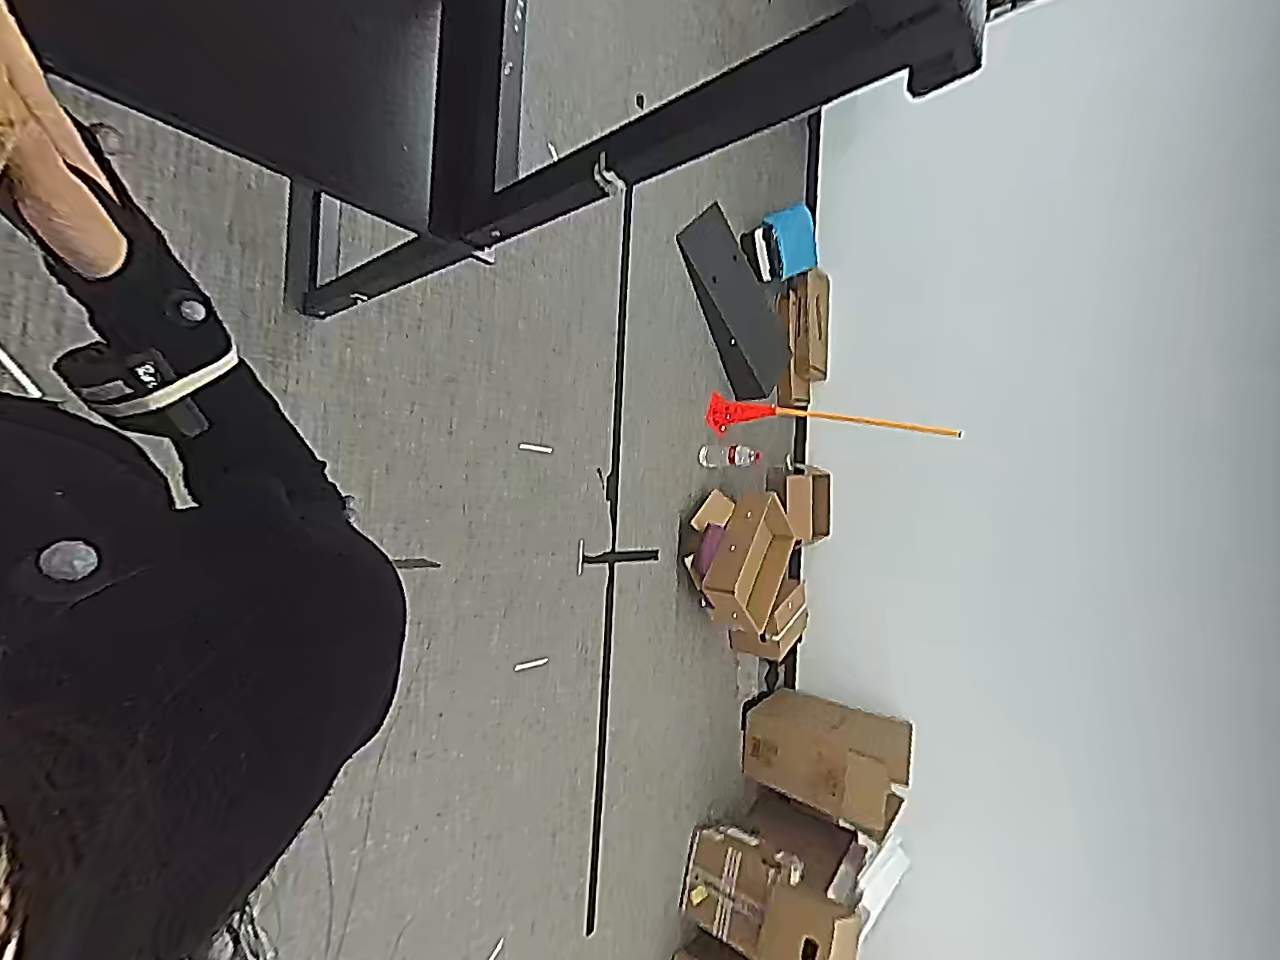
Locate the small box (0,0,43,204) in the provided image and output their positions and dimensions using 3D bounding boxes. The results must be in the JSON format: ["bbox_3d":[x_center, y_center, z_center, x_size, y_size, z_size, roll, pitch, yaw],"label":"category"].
[{"bbox_3d":[-0.315,-0.195,0.153,0.168,0.176,0.179,-13,105,-53],"label":"small box"}]
